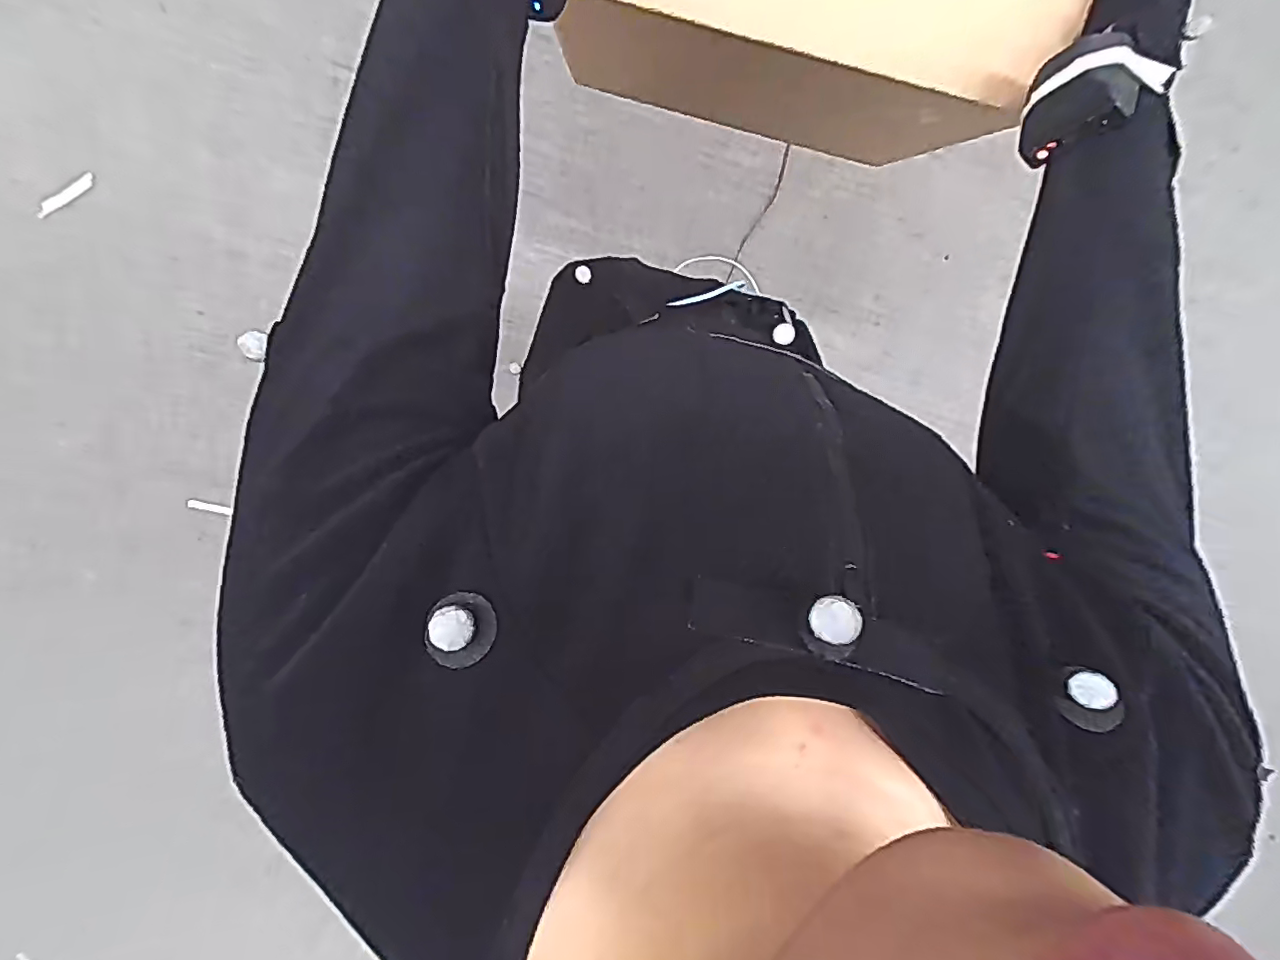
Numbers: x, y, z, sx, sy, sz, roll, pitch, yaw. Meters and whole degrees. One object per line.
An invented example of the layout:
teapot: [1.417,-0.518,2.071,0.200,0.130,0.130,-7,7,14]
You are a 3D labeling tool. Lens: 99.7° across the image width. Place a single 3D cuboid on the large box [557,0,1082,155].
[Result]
large box: [0.150,-0.529,0.484,0.408,0.320,0.320,11,115,-6]
